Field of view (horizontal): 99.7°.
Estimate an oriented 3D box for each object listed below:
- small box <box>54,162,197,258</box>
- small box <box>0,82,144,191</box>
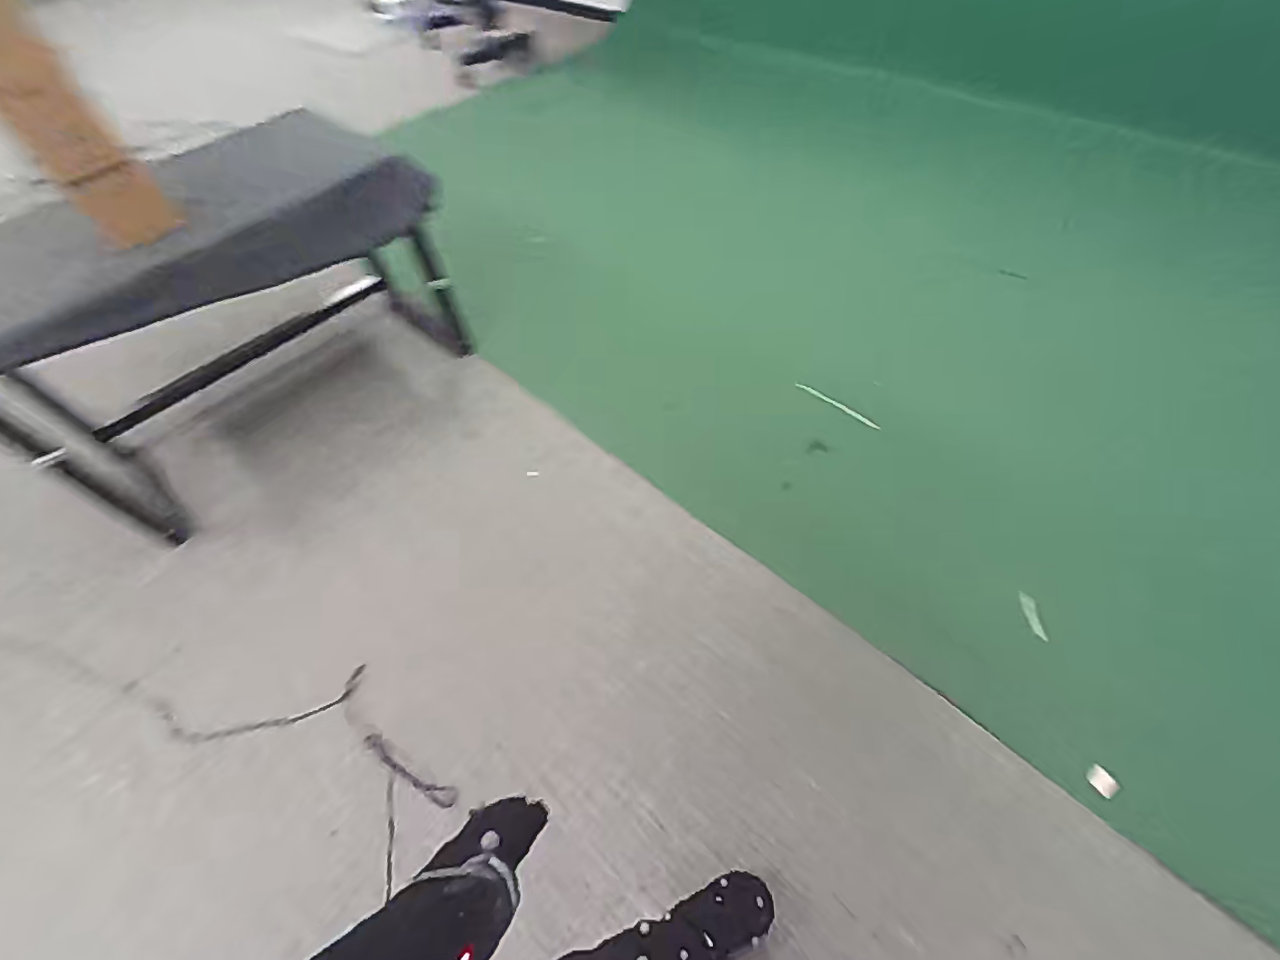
[{"bbox_3d":[-1.268,-0.681,1.342,0.168,0.176,0.179,36,63,26],"label":"small box"},{"bbox_3d":[-1.274,-0.774,1.208,0.179,0.176,0.168,35,64,25],"label":"small box"}]
